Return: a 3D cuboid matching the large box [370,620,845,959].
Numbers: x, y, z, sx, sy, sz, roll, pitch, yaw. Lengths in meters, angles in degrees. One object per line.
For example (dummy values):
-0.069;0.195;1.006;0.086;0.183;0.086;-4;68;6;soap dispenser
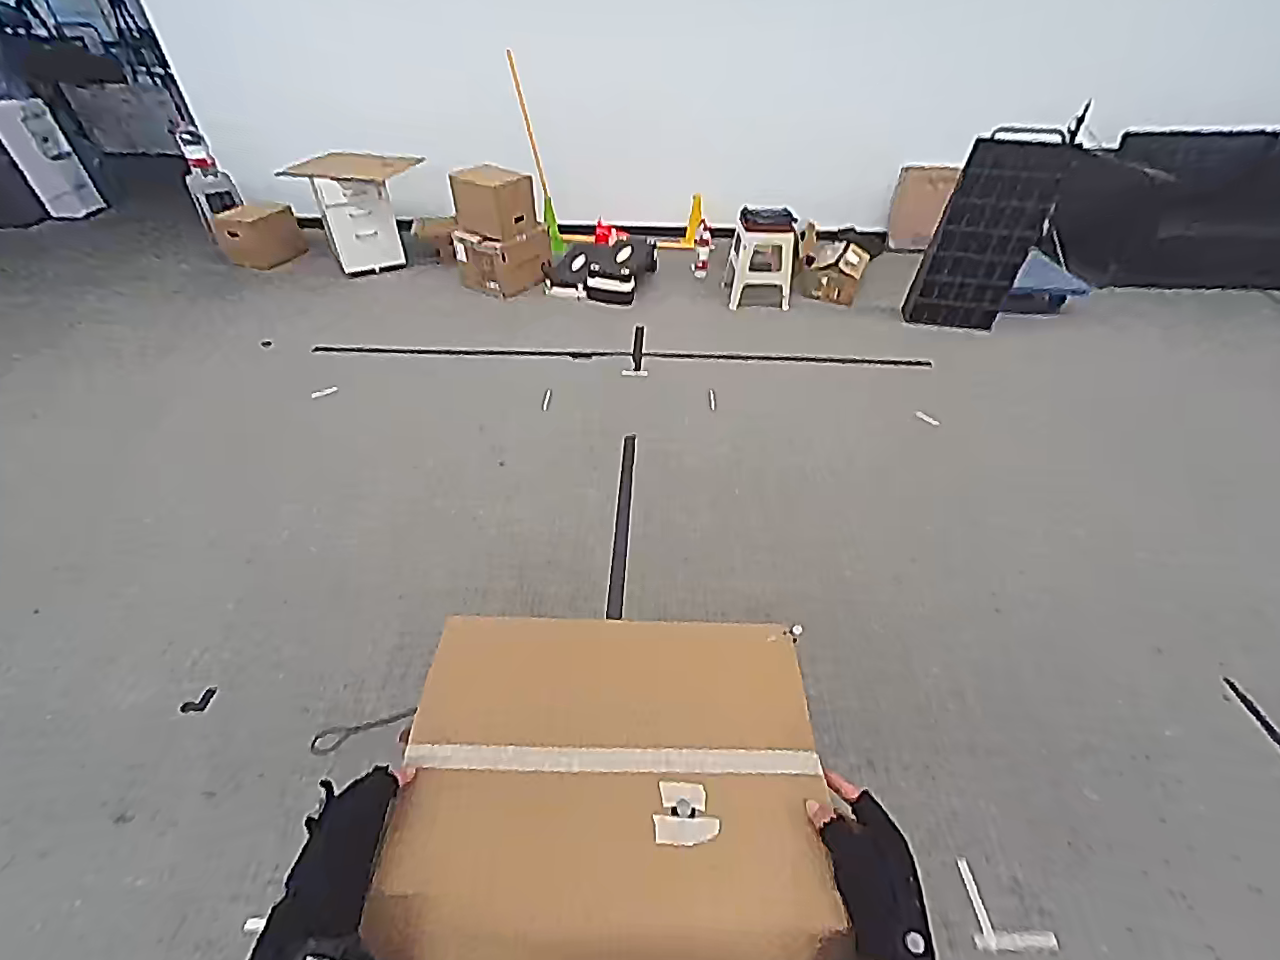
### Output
-0.032;0.388;0.653;0.408;0.320;0.320;2;44;-1;large box
